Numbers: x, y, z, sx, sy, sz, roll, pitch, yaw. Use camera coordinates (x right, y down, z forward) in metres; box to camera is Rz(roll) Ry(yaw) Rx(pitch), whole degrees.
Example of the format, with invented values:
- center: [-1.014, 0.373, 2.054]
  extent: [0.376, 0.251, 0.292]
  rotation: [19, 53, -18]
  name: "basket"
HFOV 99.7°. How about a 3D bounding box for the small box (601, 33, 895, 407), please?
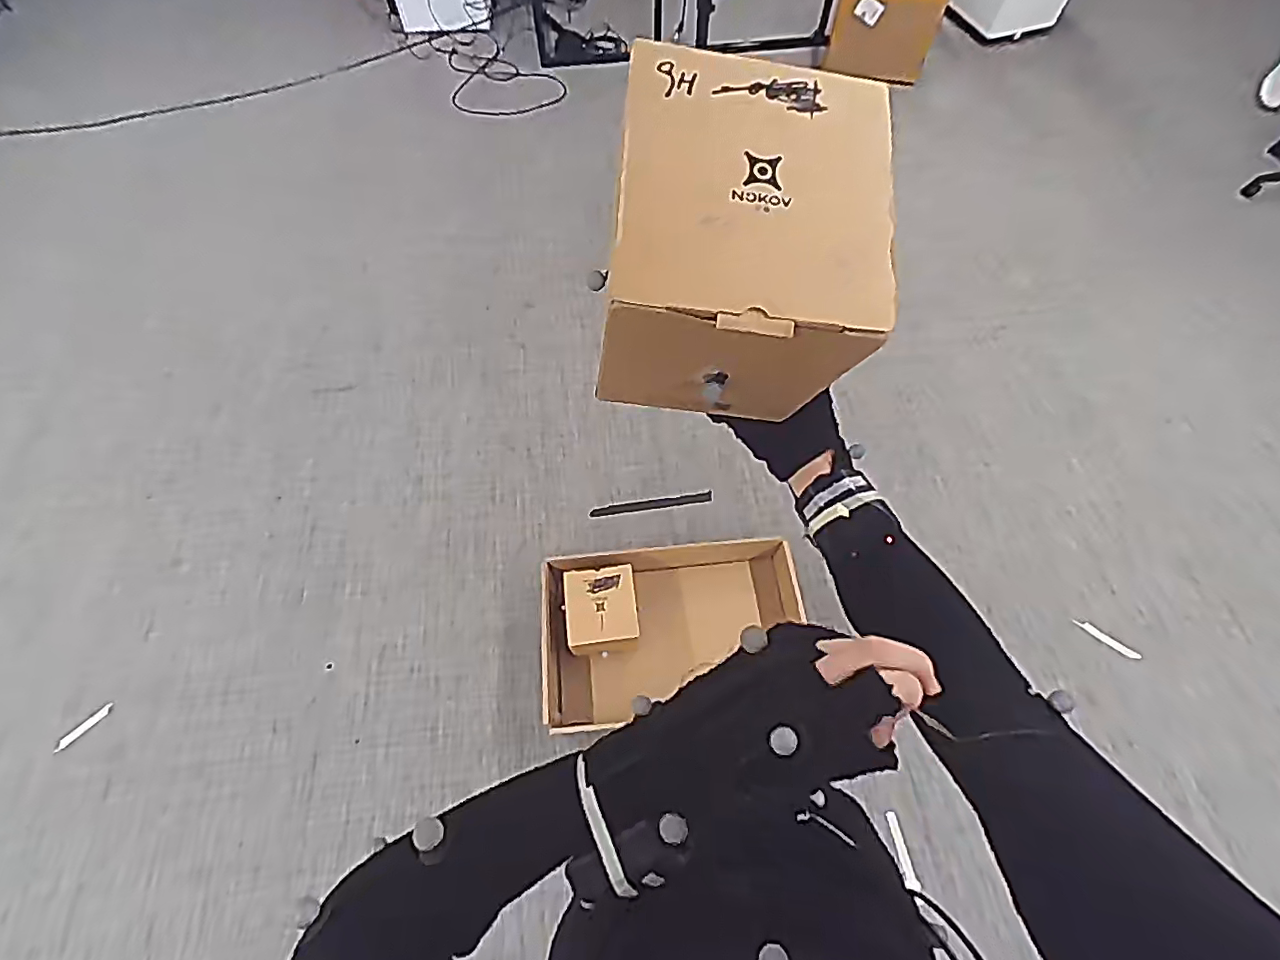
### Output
- center: [0.062, -0.163, 0.395]
  extent: [0.168, 0.176, 0.179]
  rotation: [5, 80, -6]
  name: "small box"
